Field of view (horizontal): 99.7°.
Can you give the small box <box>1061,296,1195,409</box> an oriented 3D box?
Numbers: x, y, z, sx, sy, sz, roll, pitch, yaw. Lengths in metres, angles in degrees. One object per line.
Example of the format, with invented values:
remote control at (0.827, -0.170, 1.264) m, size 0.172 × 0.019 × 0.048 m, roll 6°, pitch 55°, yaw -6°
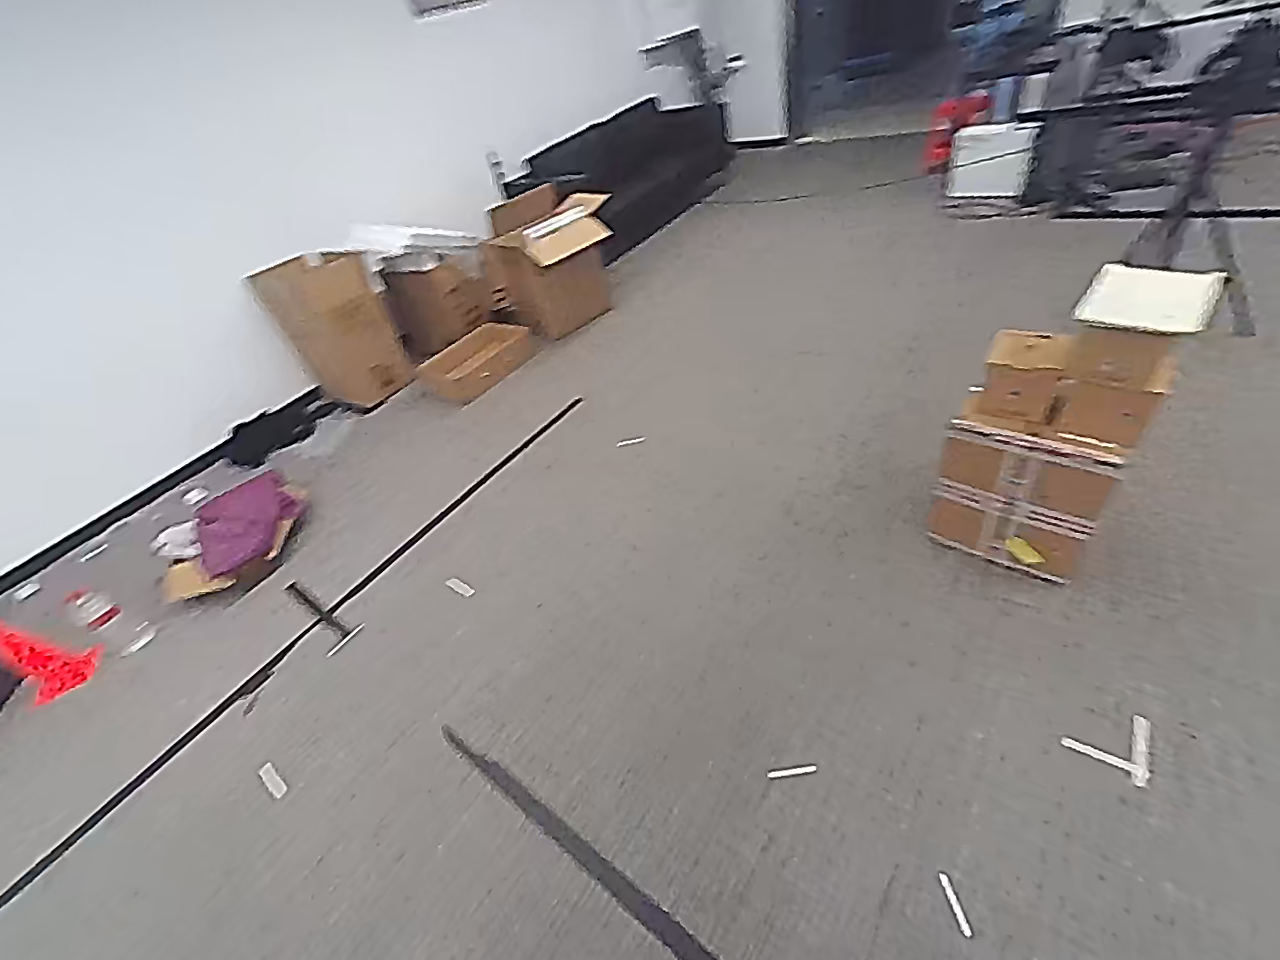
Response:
small box at (1.108, -0.294, 1.239) m, size 0.168 × 0.176 × 0.179 m, roll 27°, pitch 57°, yaw 36°
